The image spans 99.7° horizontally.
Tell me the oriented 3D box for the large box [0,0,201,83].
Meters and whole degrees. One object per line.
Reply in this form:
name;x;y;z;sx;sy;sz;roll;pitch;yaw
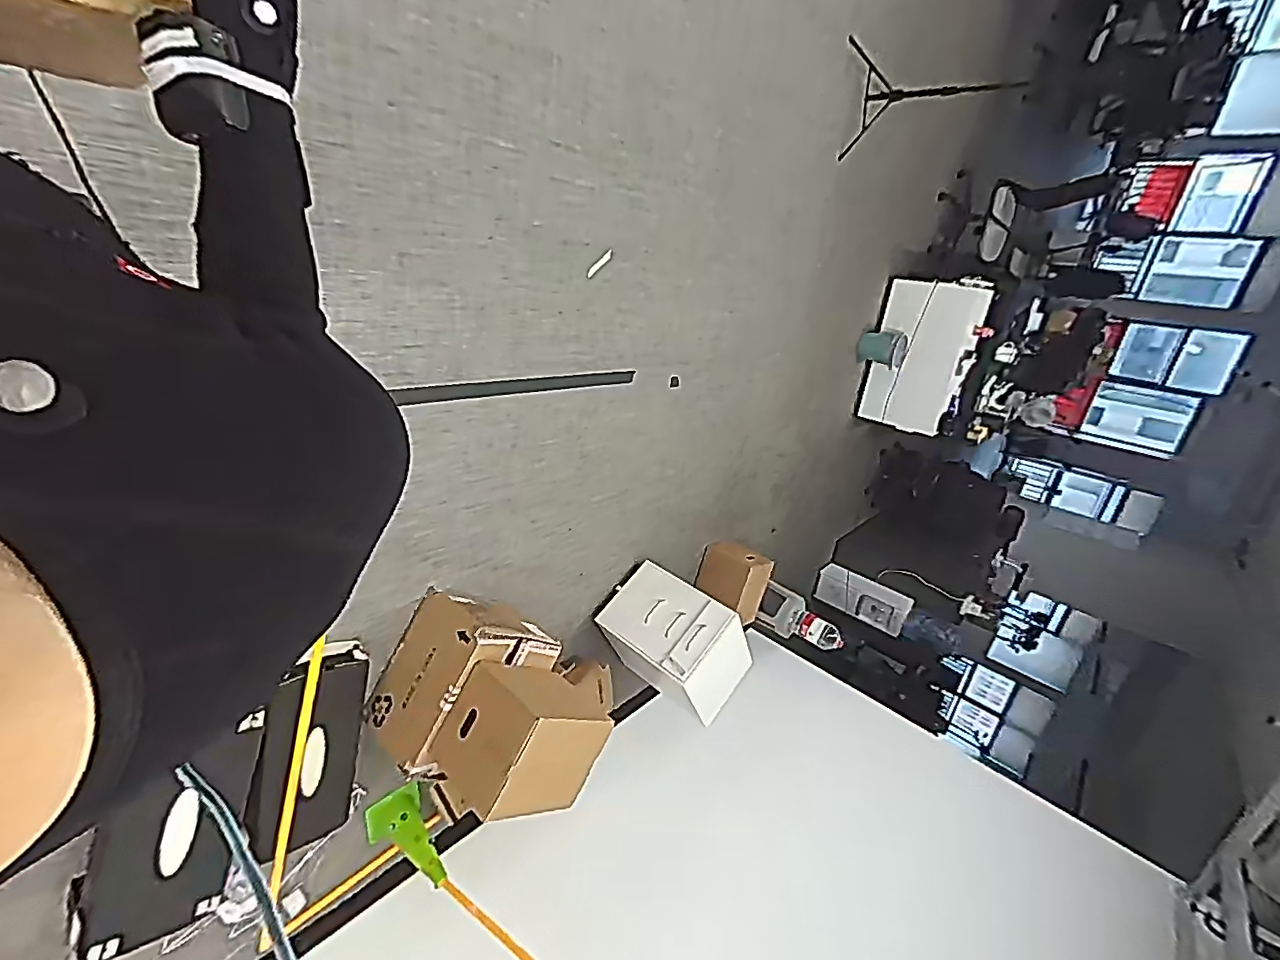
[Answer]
large box;-0.550;-0.463;0.285;0.408;0.320;0.320;-19;123;-45
